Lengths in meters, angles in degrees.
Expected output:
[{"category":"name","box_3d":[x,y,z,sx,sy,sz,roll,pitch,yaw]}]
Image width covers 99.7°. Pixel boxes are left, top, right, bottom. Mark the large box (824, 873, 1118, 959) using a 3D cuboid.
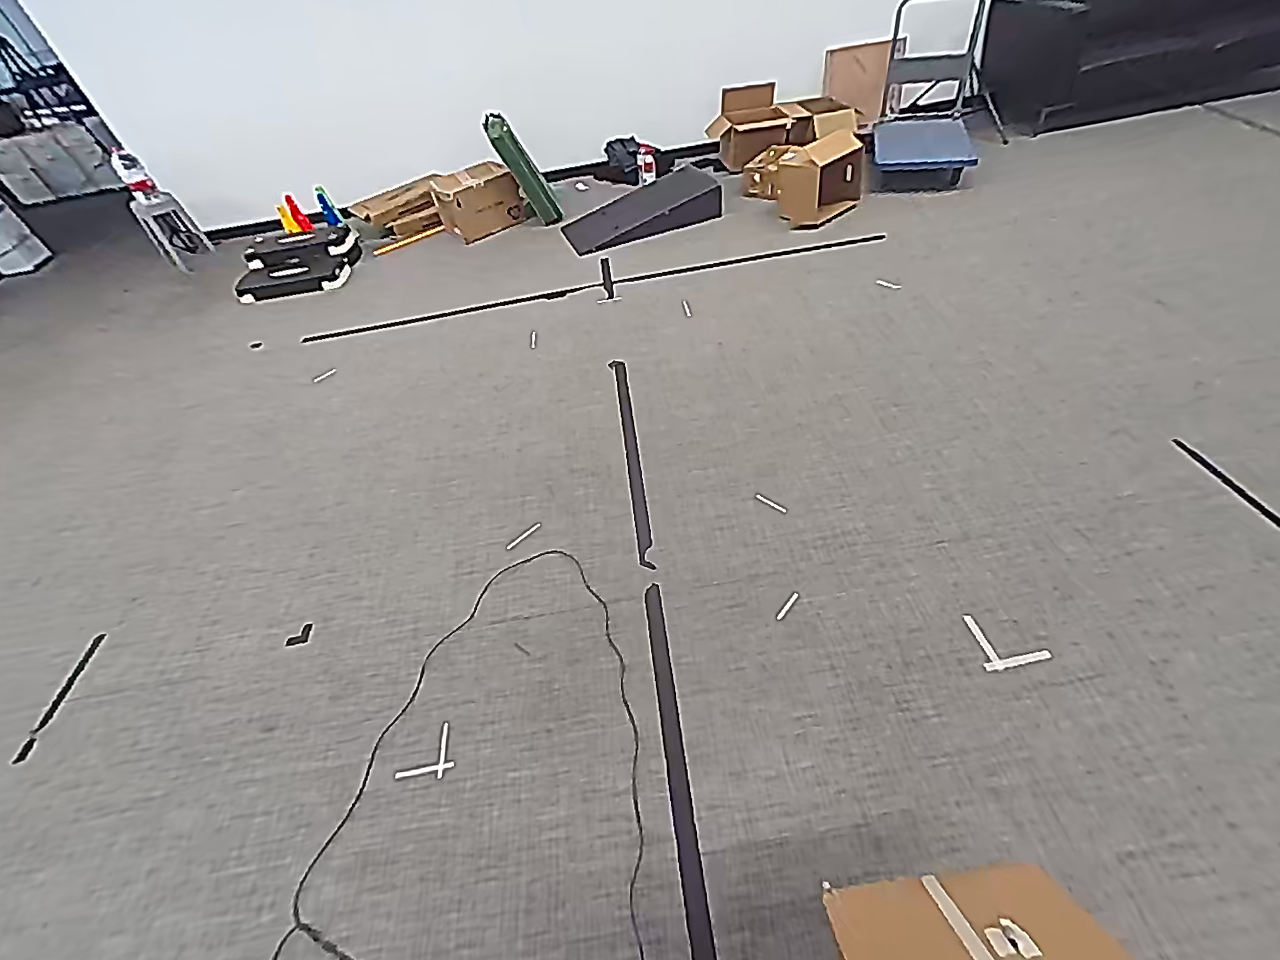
[{"category":"large box","box_3d":[0.441,0.736,0.593,0.320,0.408,0.320,-10,84,3]}]
